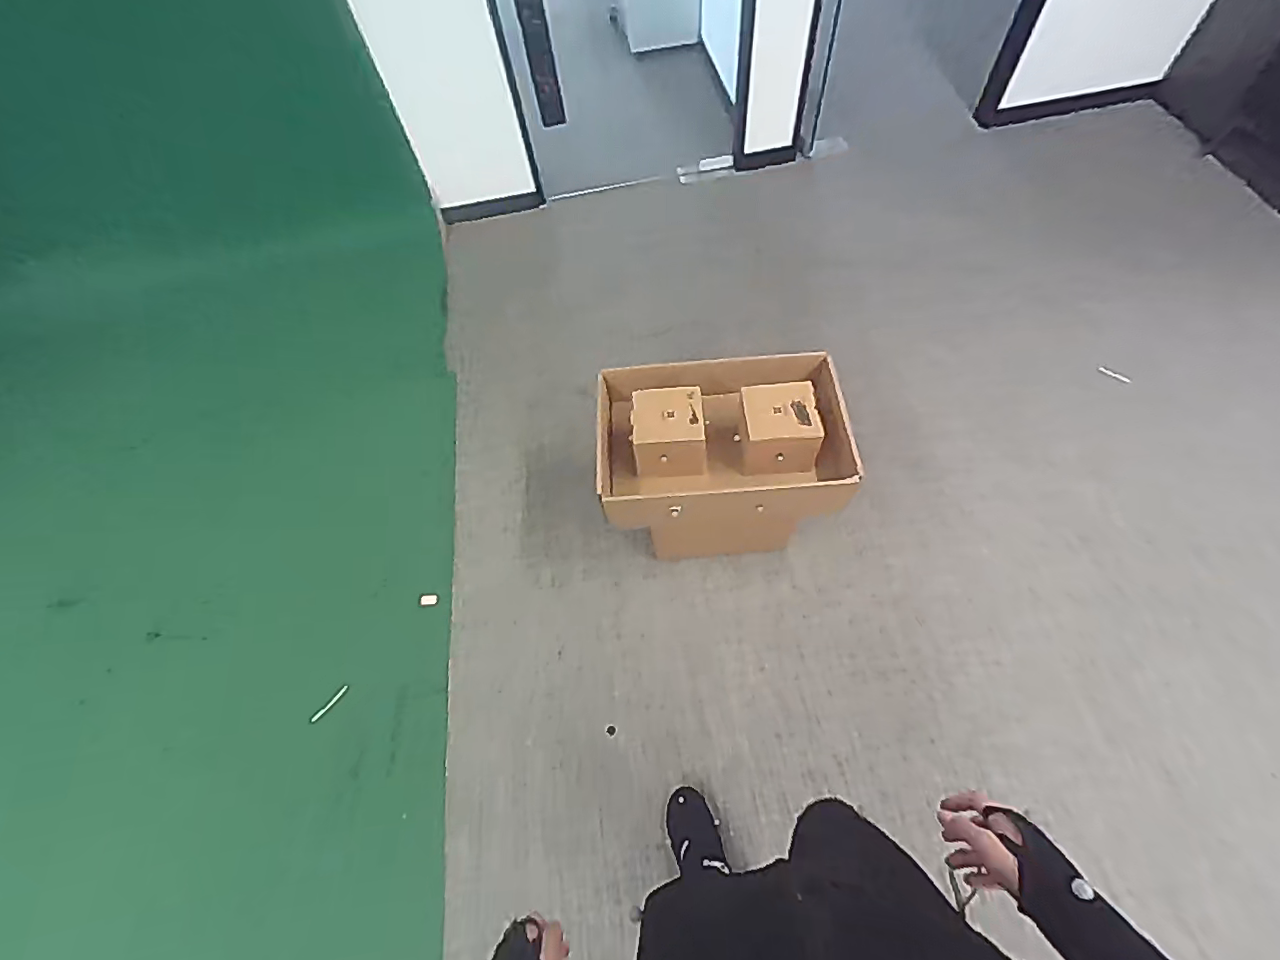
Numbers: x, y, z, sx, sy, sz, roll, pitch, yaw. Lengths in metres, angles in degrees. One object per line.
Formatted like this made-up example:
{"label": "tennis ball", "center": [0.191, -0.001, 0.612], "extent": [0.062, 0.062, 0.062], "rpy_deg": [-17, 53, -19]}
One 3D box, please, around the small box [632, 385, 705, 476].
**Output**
{"label": "small box", "center": [0.075, -0.121, 1.382], "extent": [0.179, 0.176, 0.168], "rpy_deg": [-3, 60, 4]}
